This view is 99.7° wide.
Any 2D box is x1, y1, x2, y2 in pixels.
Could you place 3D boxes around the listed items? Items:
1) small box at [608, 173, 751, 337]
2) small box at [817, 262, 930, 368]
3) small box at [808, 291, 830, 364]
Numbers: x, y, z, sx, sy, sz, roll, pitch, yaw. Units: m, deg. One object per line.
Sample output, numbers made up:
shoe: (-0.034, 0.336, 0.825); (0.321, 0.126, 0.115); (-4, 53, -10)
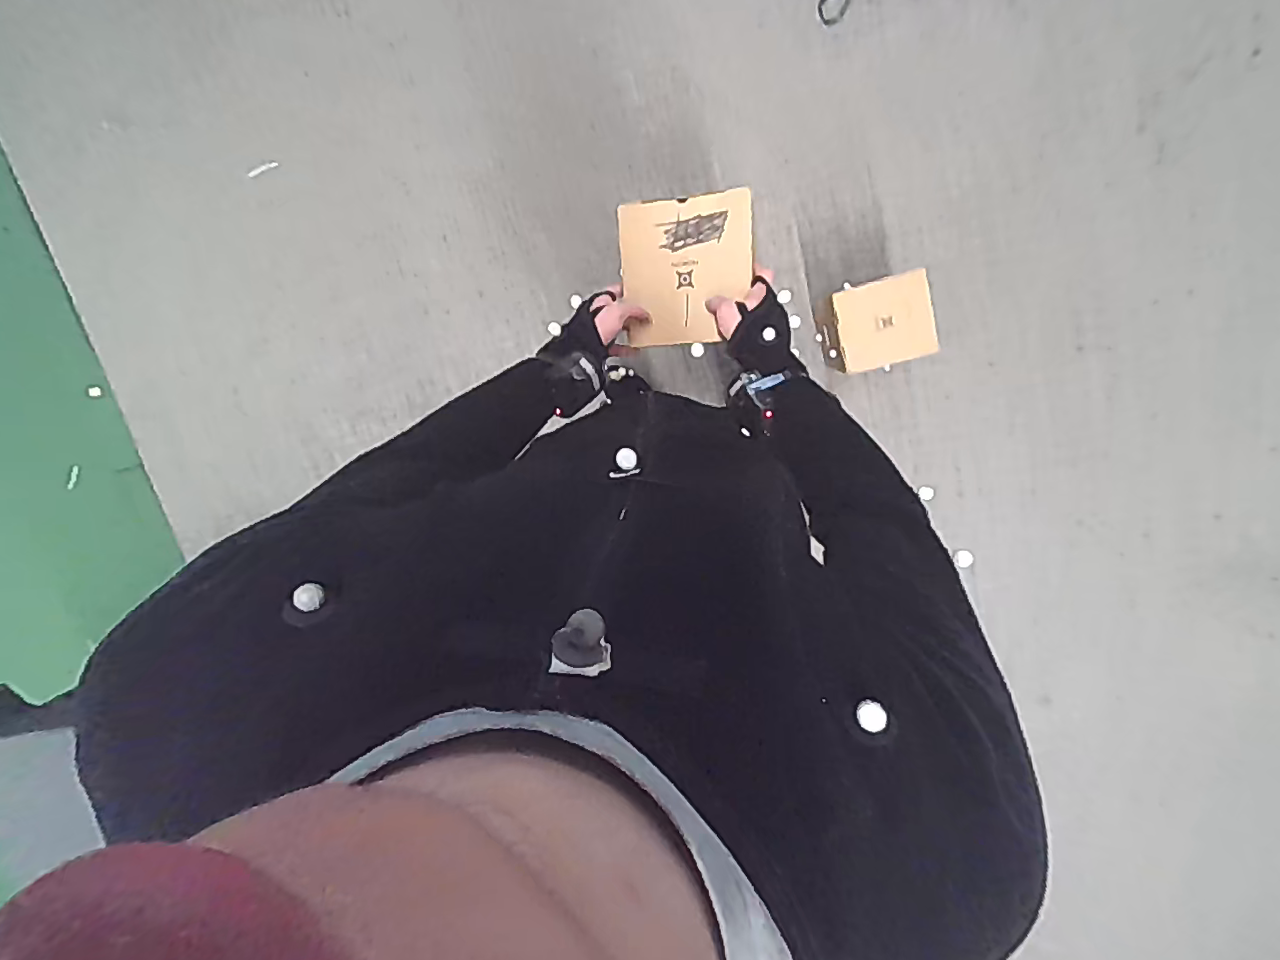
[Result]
small box: (0.061, -0.287, 0.729); (0.168, 0.176, 0.179); (0, 105, 14)
small box: (0.477, -0.339, 1.132); (0.179, 0.176, 0.168); (-13, 103, 12)
small box: (0.505, -0.381, 1.287); (0.179, 0.176, 0.168); (-14, 102, 14)
